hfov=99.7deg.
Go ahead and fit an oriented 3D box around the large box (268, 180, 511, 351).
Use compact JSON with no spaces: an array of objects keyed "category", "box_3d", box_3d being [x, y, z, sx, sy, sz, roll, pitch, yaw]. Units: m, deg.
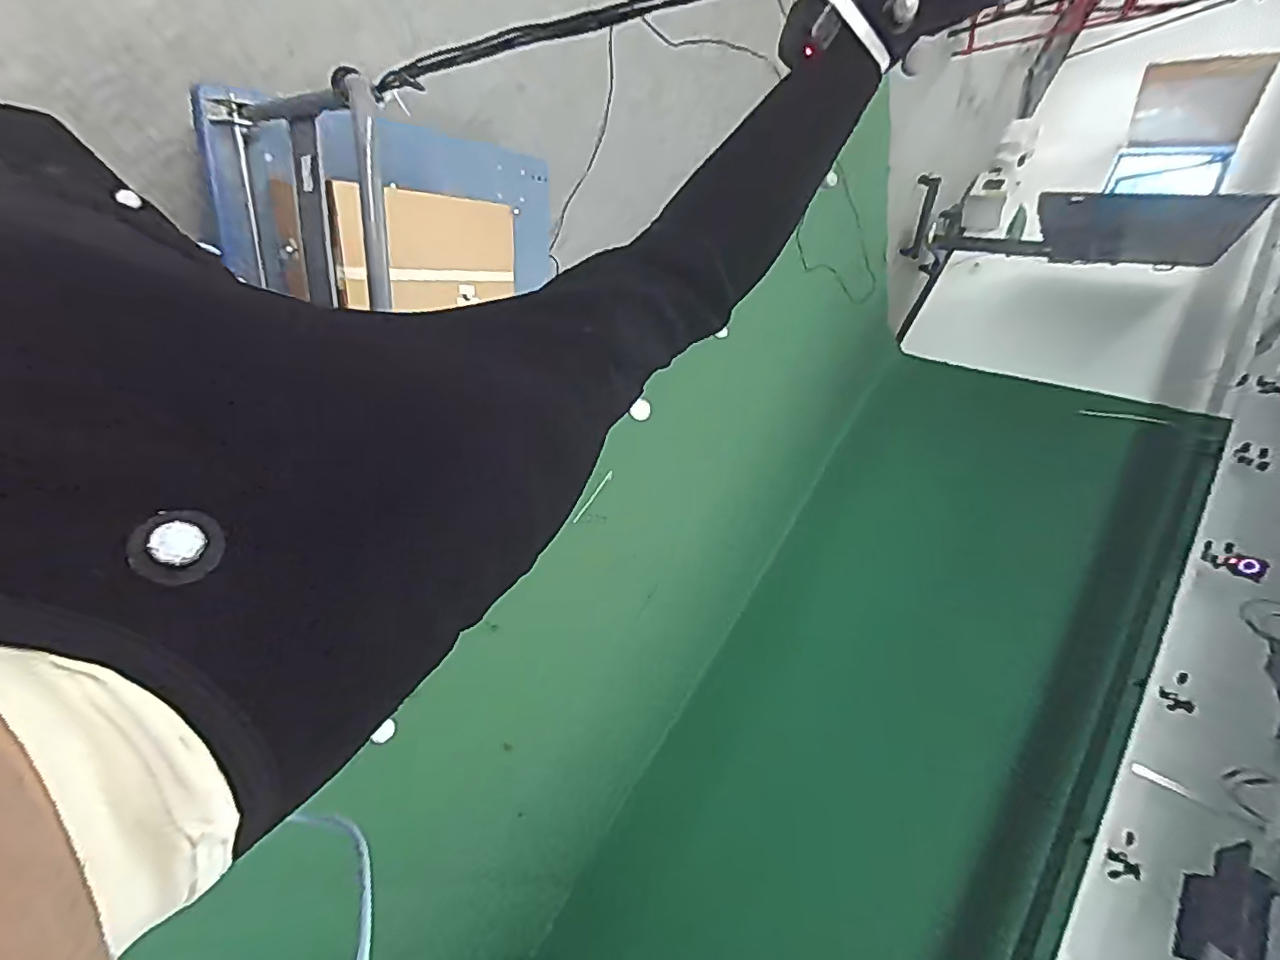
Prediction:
[{"category":"large box","box_3d":[-0.558,-0.495,1.253,0.408,0.320,0.320,-21,125,-47]}]
